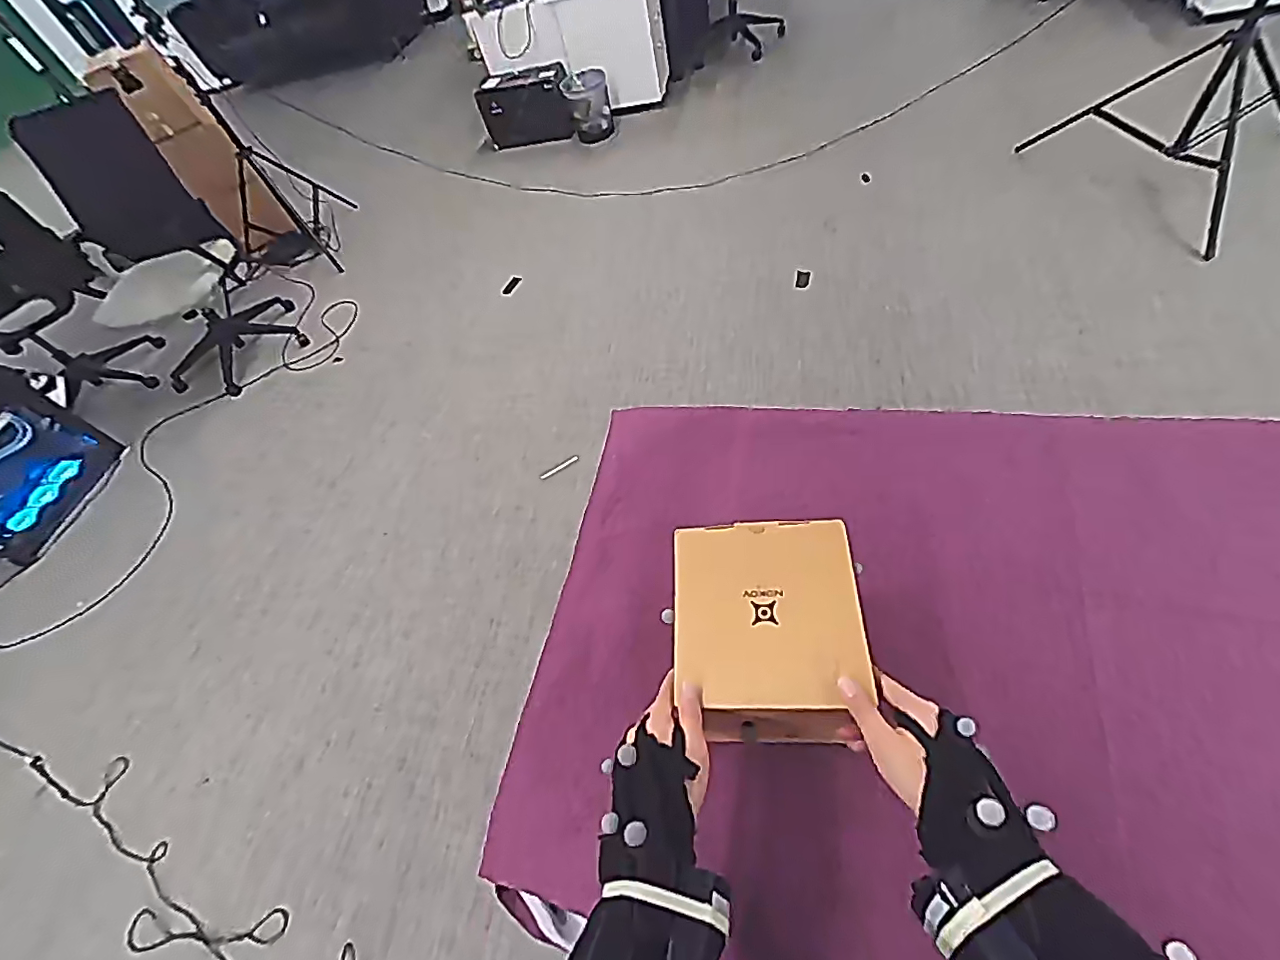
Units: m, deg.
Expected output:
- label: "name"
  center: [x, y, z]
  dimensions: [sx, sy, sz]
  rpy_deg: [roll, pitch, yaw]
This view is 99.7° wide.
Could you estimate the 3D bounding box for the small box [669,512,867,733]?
- label: "small box"
  center: [0.125, 0.154, 0.557]
  dimensions: [0.168, 0.176, 0.179]
  rpy_deg: [-5, 54, 11]
